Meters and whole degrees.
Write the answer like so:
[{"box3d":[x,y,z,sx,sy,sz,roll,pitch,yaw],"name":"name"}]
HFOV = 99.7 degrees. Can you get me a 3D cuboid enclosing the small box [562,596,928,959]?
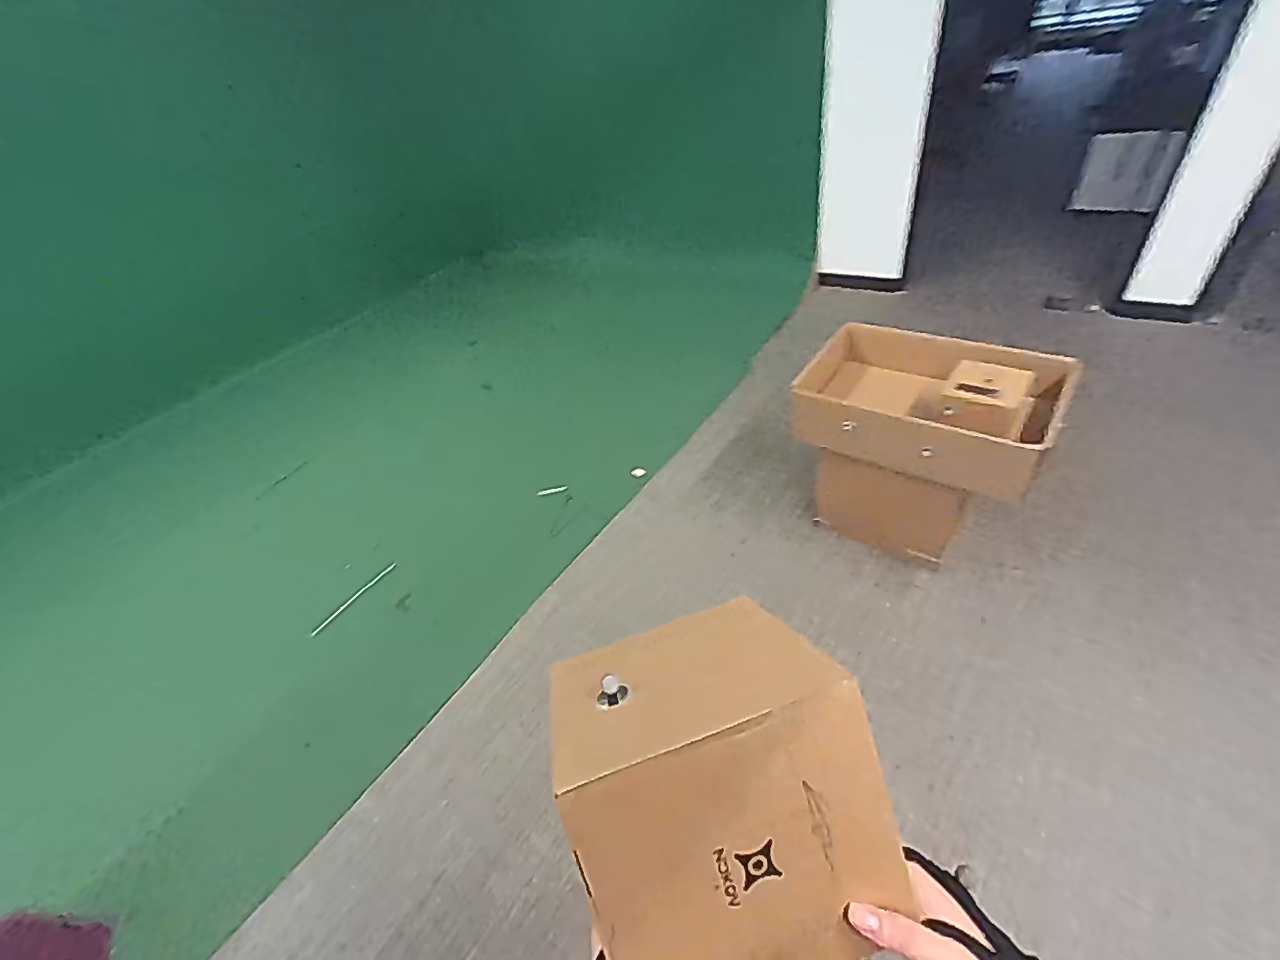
[{"box3d":[0.052,0.200,0.373,0.179,0.168,0.176,-17,7,-8],"name":"small box"}]
